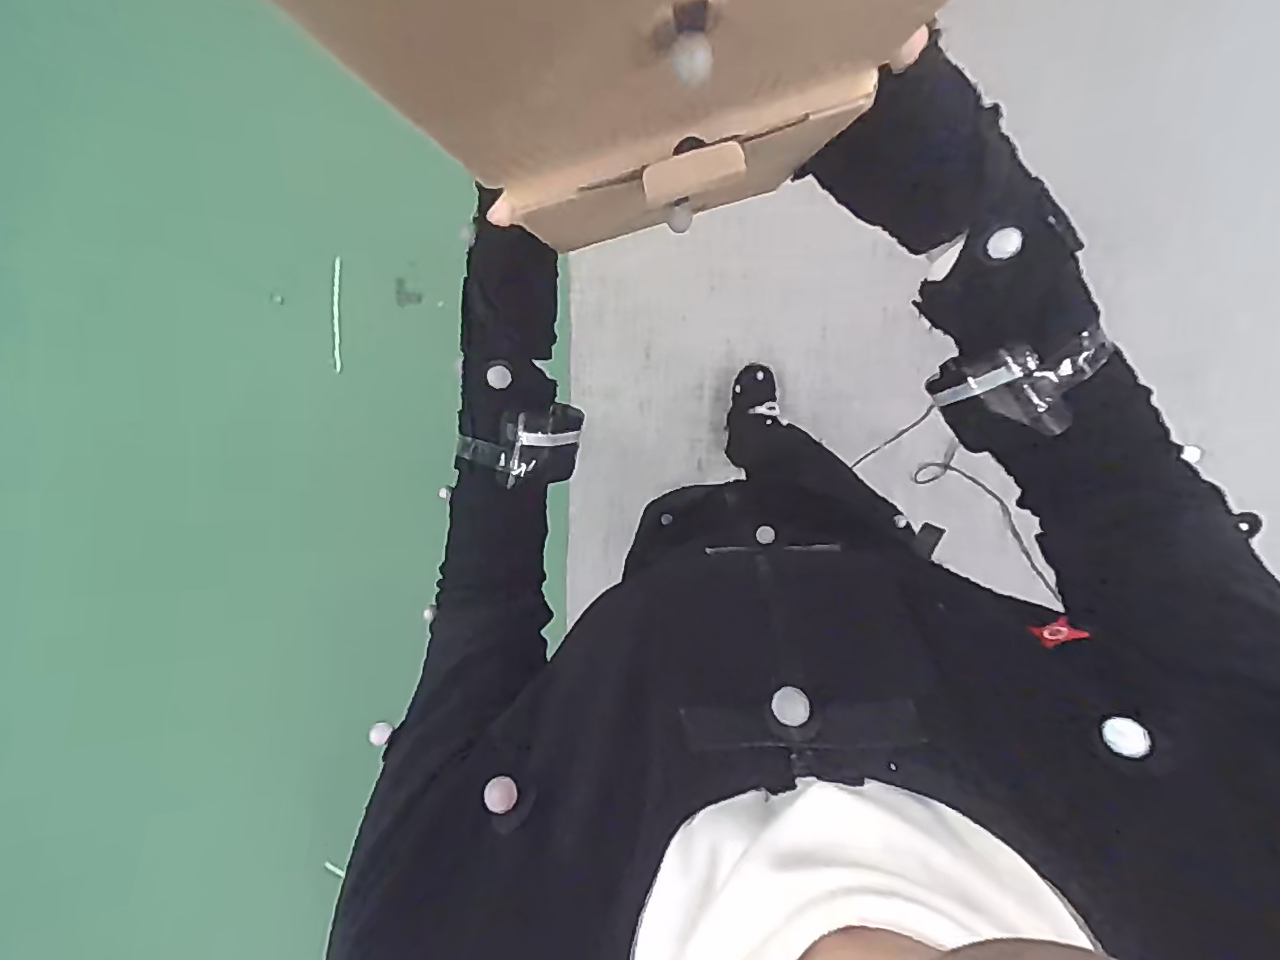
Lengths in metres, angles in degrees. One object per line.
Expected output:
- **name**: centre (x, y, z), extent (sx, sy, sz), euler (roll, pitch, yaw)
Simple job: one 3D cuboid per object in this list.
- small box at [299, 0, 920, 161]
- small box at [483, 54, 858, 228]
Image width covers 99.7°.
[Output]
- **small box**: centre (-0.002, -0.204, 0.129), extent (0.179, 0.176, 0.168), euler (-13, 107, 5)
- **small box**: centre (-0.001, -0.246, 0.288), extent (0.168, 0.176, 0.179), euler (-12, 106, 4)
